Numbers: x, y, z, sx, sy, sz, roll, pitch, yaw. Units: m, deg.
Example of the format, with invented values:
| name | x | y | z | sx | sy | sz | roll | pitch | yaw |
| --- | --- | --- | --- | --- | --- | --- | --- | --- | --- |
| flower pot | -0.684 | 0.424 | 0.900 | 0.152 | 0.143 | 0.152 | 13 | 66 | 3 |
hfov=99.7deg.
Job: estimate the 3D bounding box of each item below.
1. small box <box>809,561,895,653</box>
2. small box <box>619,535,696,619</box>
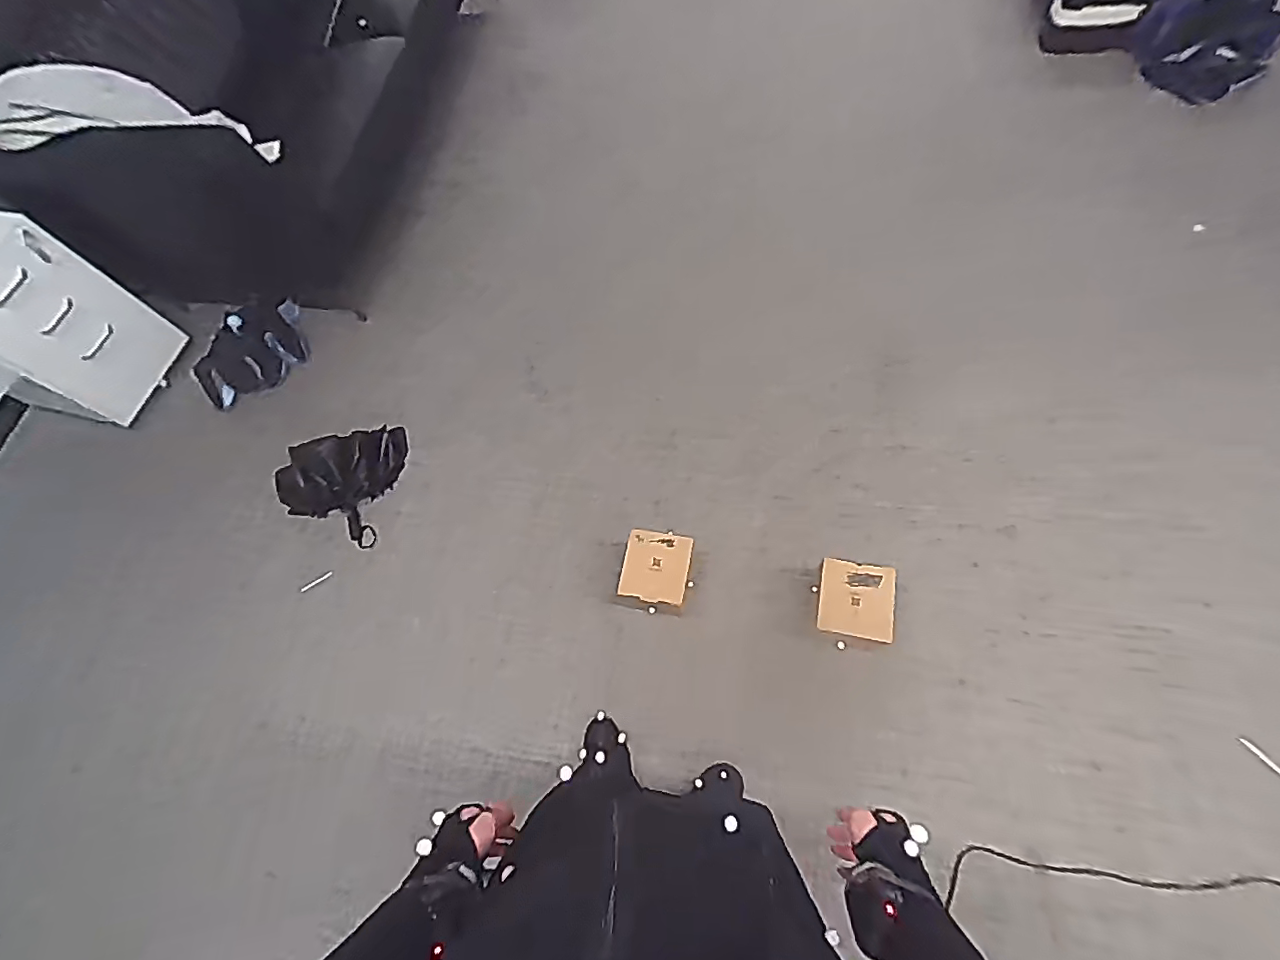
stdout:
| name | x | y | z | sx | sy | sz | roll | pitch | yaw |
| --- | --- | --- | --- | --- | --- | --- | --- | --- | --- |
| small box | 0.517 | 0.317 | 1.336 | 0.168 | 0.176 | 0.179 | 8 | 70 | 14 |
| small box | 0.055 | 0.263 | 1.438 | 0.168 | 0.176 | 0.179 | 8 | 68 | 12 |
